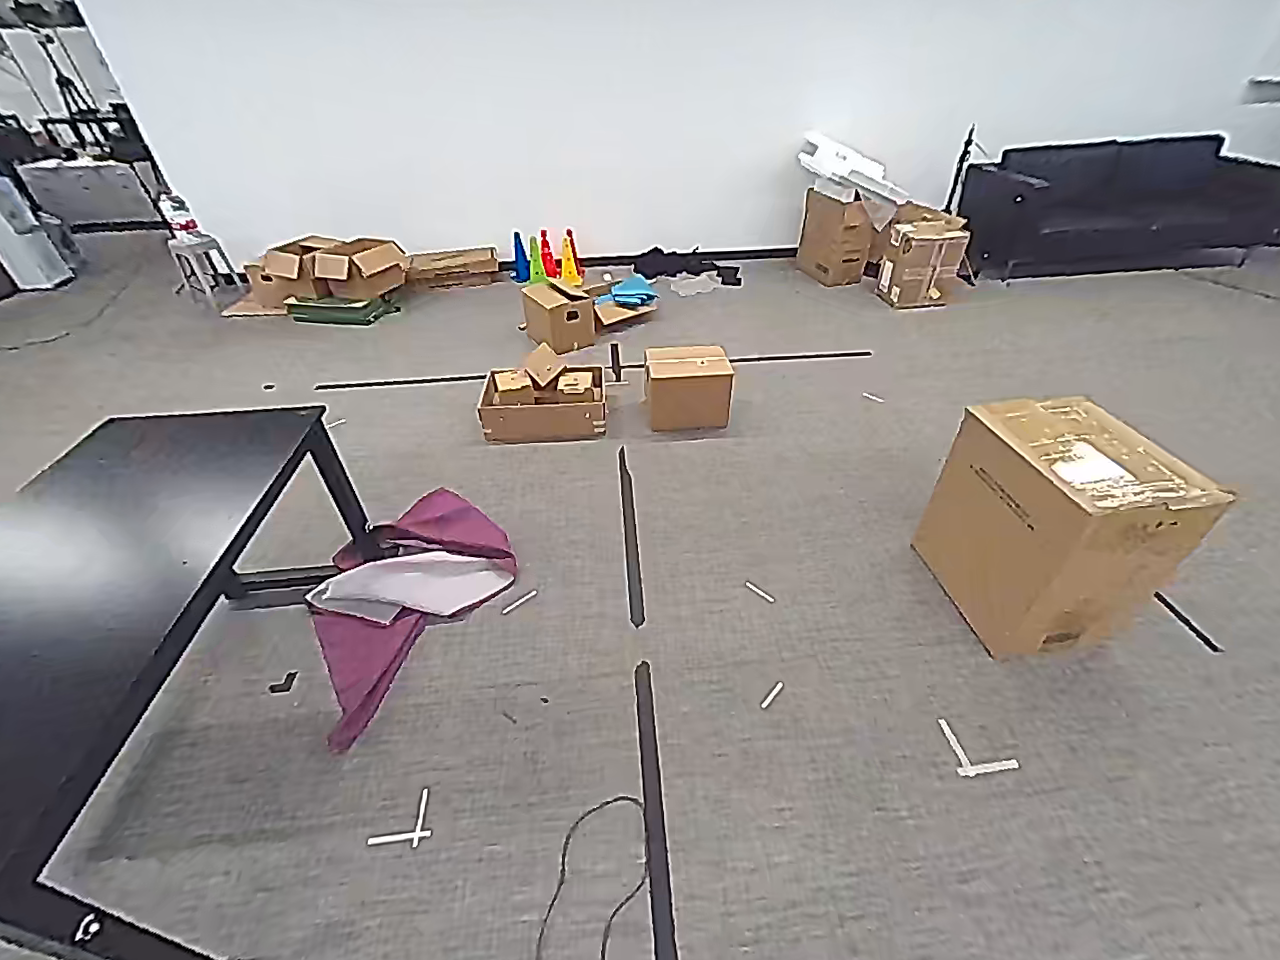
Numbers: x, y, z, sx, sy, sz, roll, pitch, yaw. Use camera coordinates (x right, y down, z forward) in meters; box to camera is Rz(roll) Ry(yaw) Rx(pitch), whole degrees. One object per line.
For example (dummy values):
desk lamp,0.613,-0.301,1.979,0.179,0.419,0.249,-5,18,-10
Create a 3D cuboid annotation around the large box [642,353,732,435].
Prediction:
large box,0.229,-0.446,2.793,0.408,0.320,0.320,-3,39,-5
